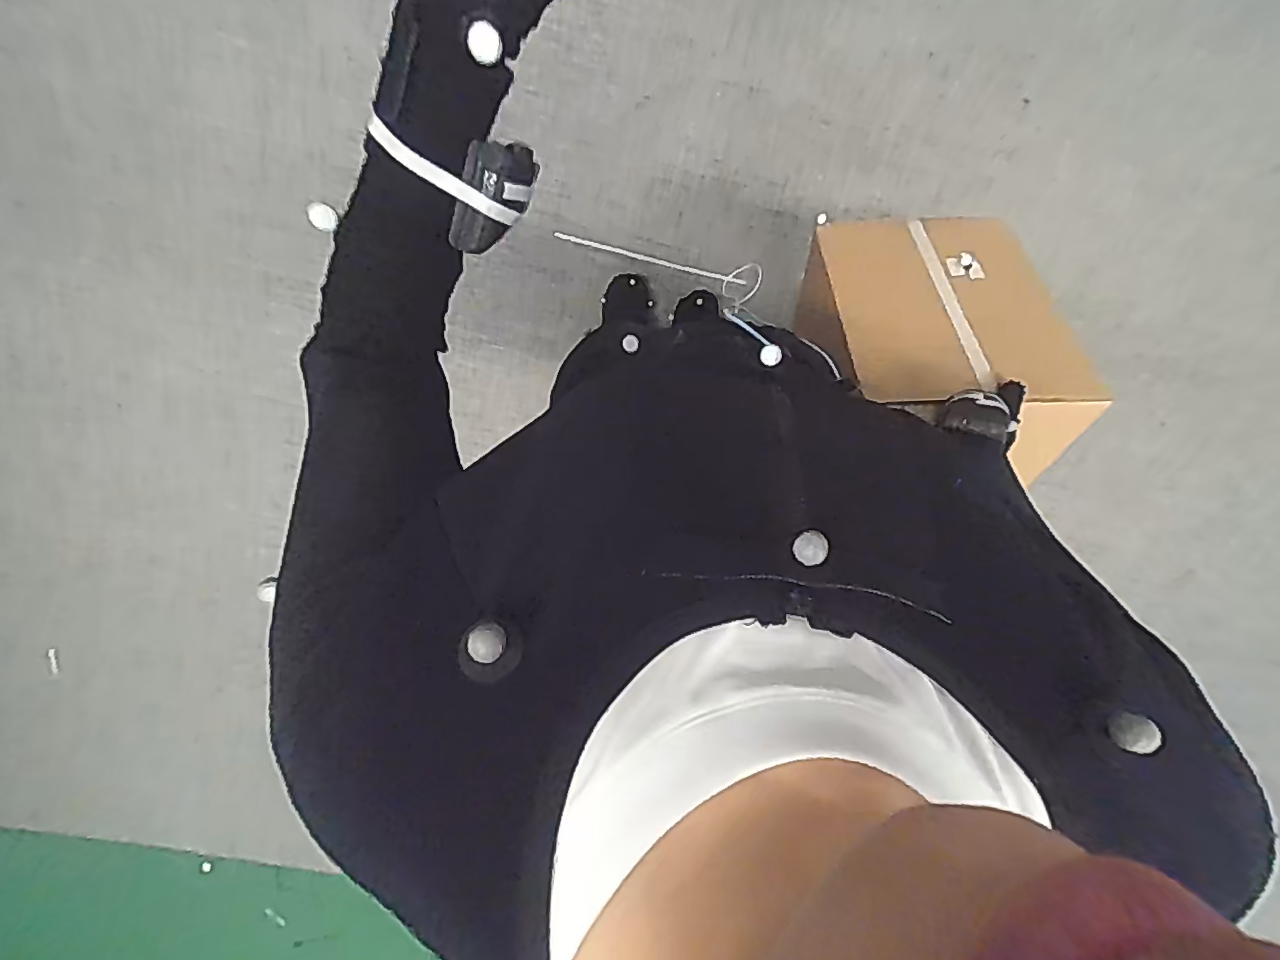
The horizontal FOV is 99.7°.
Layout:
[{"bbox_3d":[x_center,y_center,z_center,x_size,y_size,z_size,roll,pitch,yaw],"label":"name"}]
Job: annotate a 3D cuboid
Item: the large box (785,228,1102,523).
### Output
[{"bbox_3d":[0.452,-0.172,0.931,0.320,0.408,0.320,0,146,2],"label":"large box"}]
